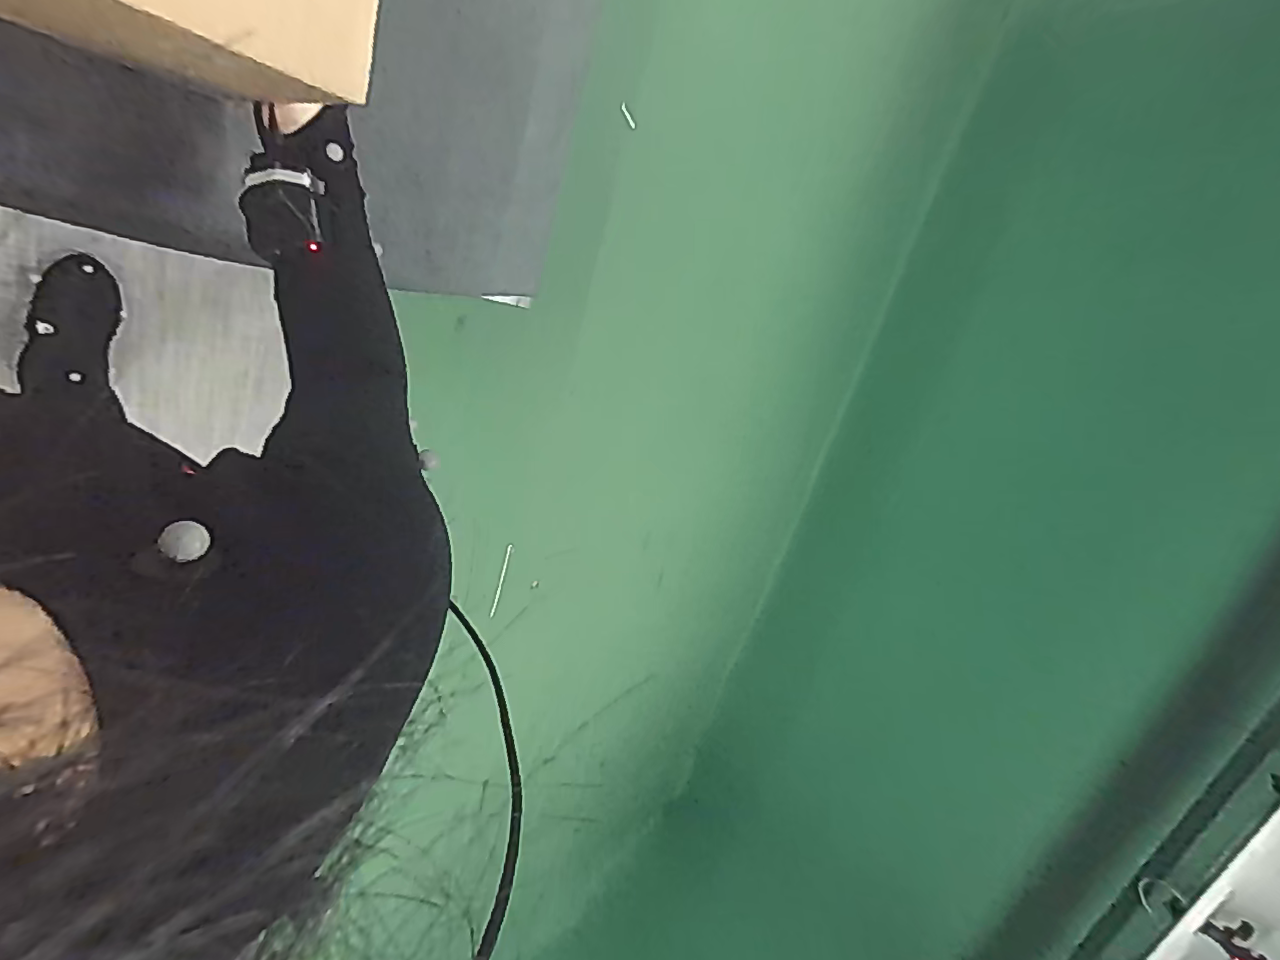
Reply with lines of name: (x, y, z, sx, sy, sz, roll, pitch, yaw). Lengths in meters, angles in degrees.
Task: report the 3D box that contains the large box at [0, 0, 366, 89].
large box: (-0.372, -0.425, 0.223, 0.408, 0.320, 0.320, -6, 120, -49)
